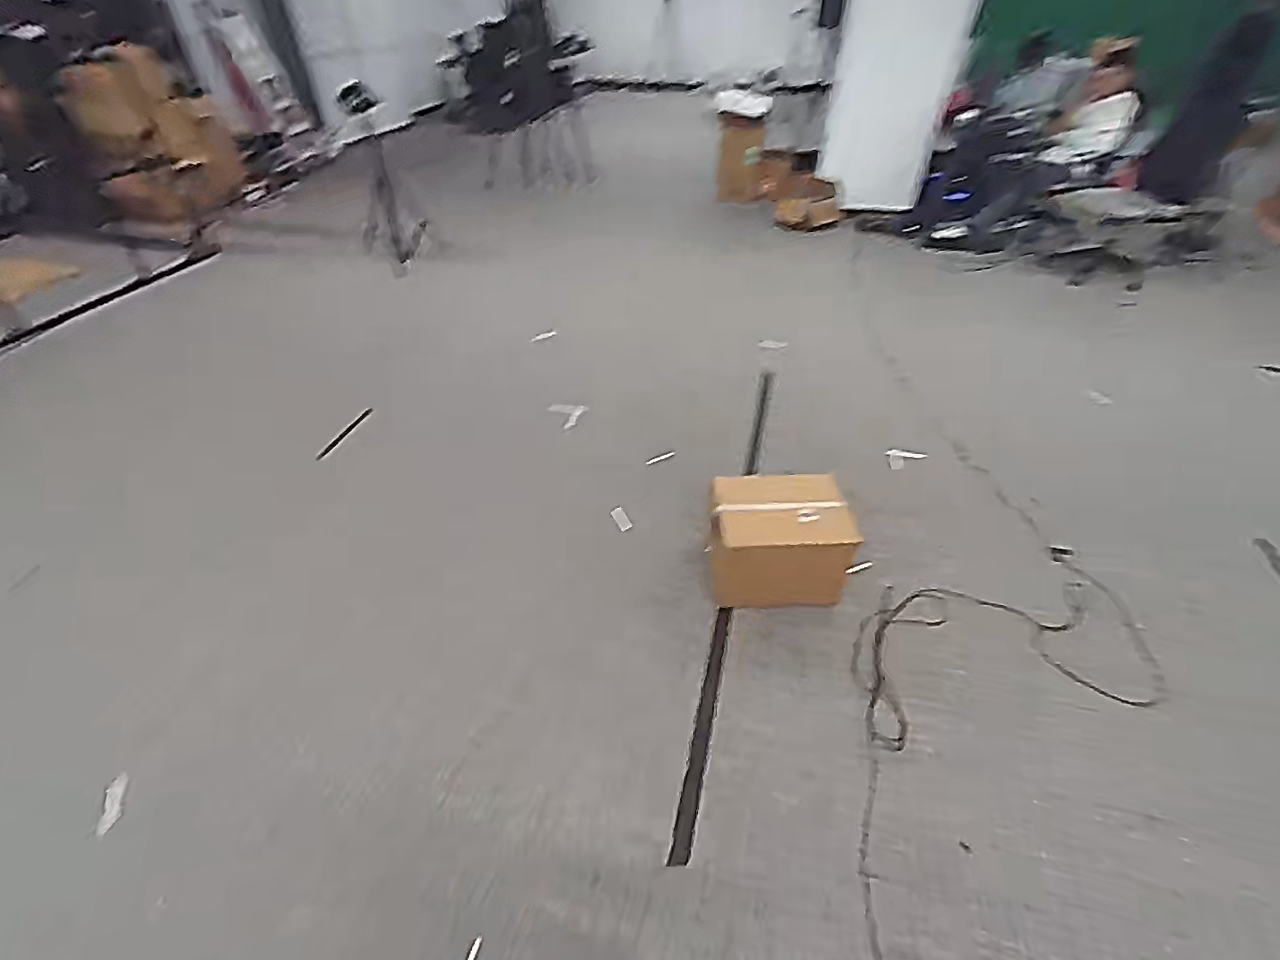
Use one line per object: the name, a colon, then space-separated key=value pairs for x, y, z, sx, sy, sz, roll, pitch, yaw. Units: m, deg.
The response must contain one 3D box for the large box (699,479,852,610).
large box: x=0.428 y=0.213 z=1.810 sx=0.408 sy=0.320 sz=0.320 roll=-1 pitch=41 yaw=-2
